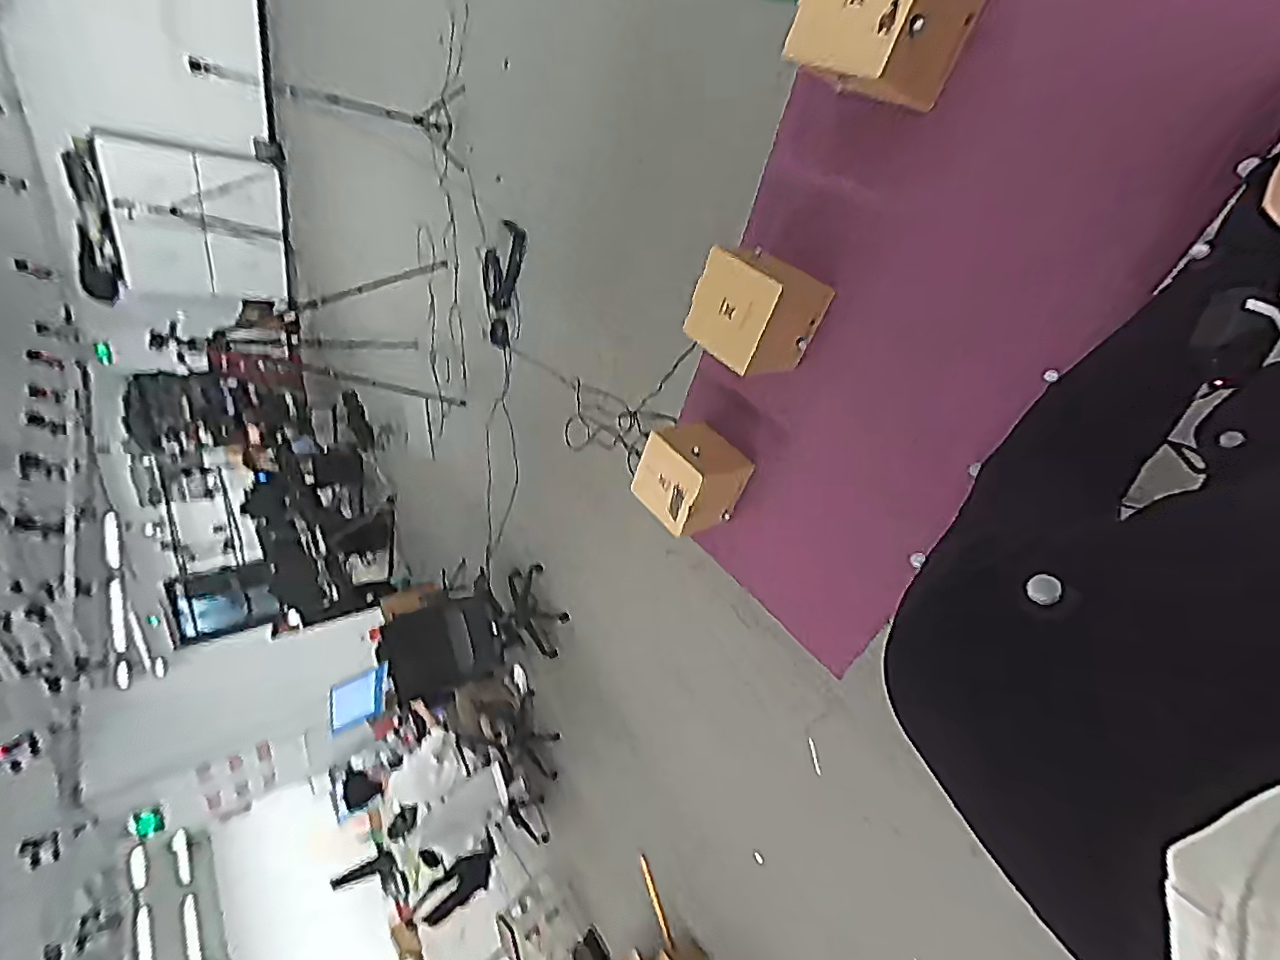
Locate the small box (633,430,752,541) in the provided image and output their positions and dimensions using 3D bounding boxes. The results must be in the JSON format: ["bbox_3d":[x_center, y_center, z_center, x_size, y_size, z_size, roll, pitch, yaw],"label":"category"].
[{"bbox_3d":[0.118,0.002,1.202,0.179,0.176,0.168,43,130,32],"label":"small box"}]

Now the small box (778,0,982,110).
[{"bbox_3d":[0.337,-0.646,0.760,0.179,0.176,0.168,44,132,33],"label":"small box"}]

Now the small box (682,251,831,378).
[{"bbox_3d":[0.214,-0.306,1.005,0.179,0.176,0.168,45,132,31],"label":"small box"}]
